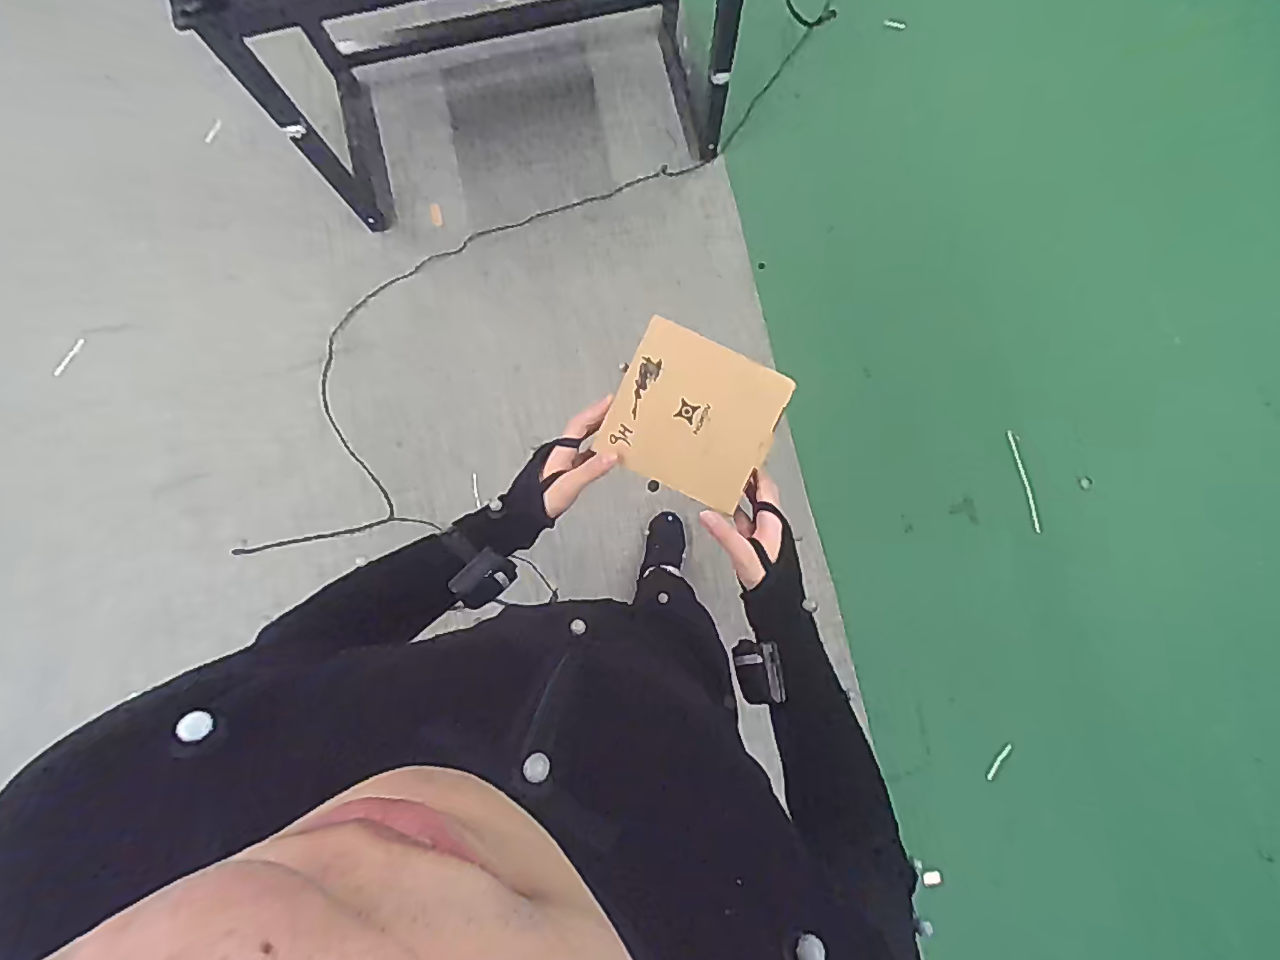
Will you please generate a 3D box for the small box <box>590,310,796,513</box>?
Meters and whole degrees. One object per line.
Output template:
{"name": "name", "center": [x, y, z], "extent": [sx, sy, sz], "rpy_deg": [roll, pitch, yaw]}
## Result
{"name": "small box", "center": [0.055, -0.077, 0.661], "extent": [0.179, 0.176, 0.168], "rpy_deg": [26, 91, -2]}
